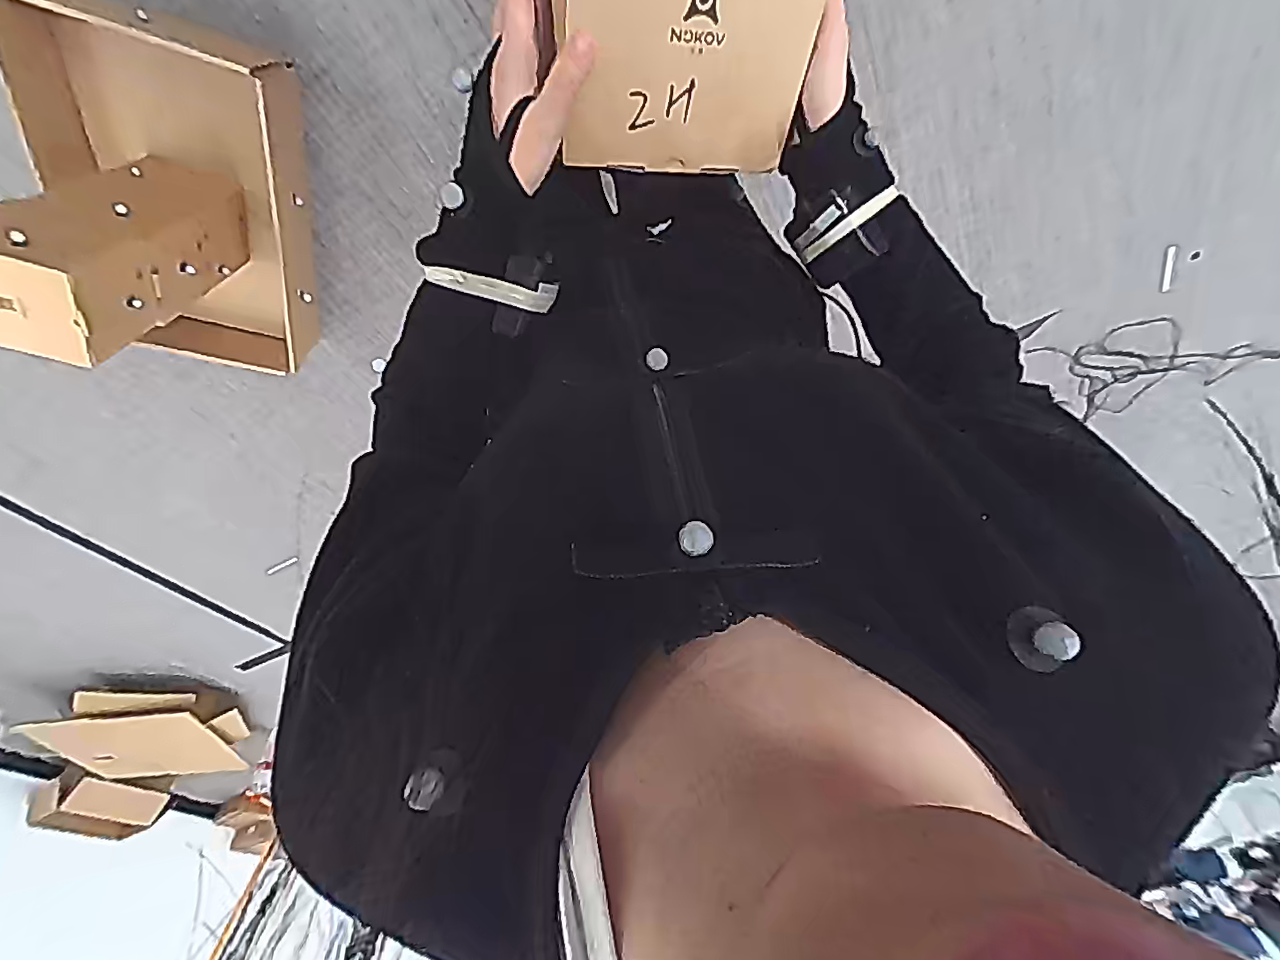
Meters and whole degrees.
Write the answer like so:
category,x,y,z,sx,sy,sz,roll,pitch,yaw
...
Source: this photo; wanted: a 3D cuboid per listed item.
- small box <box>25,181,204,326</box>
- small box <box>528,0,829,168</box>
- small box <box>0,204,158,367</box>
category,x,y,z,sx,sy,sz,roll,pitch,yaw
small box,-0.926,-0.411,0.977,0.179,0.176,0.168,14,128,-18
small box,0.017,-0.345,0.373,0.168,0.176,0.179,-7,142,-17
small box,-0.920,-0.309,0.849,0.179,0.176,0.168,14,129,-17
